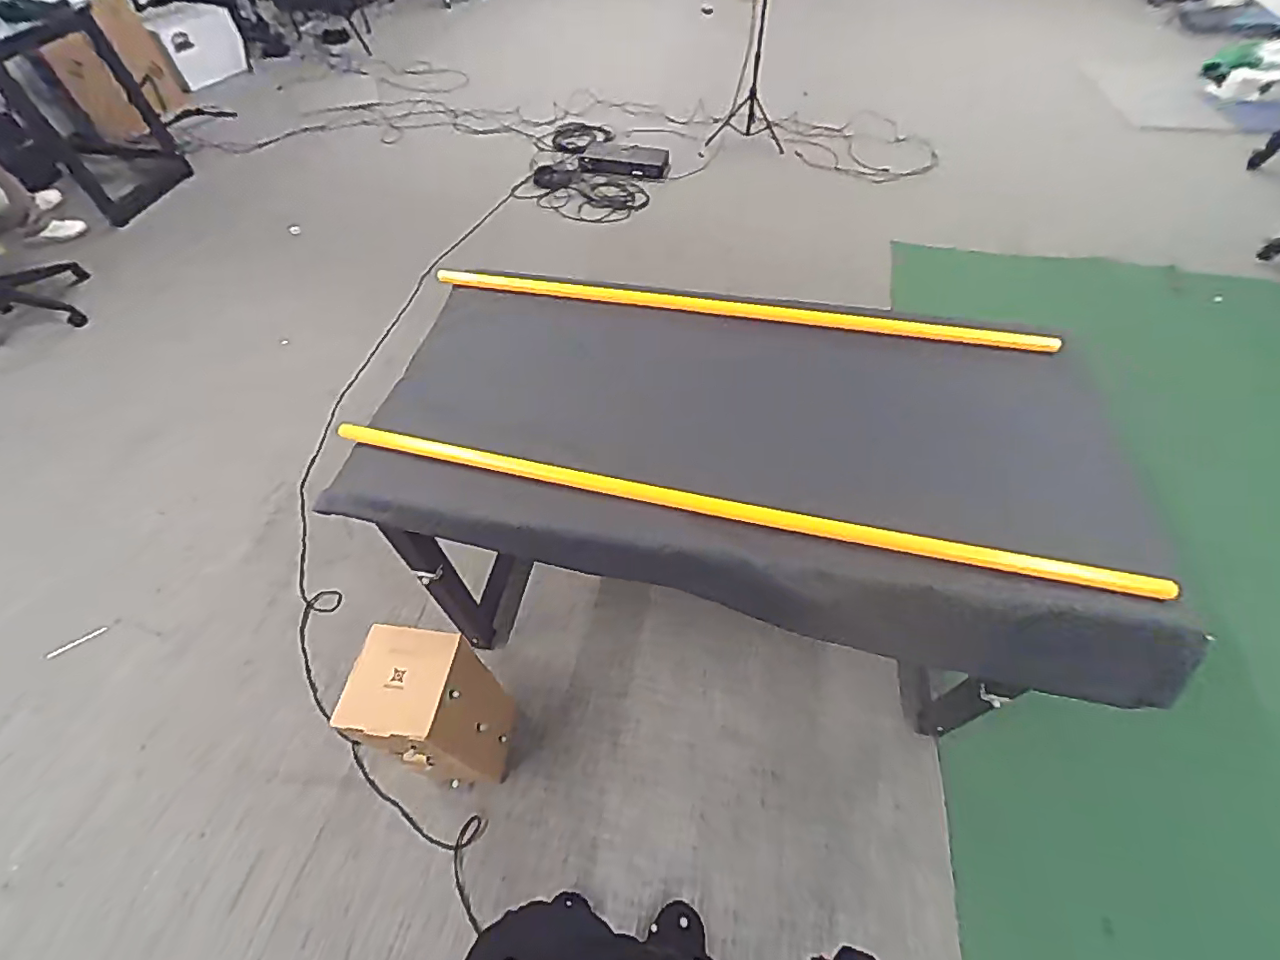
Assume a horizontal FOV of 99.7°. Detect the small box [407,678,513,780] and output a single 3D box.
[{"bbox_3d":[-0.397,0.568,1.232,0.168,0.176,0.179,2,54,3],"label":"small box"}]
